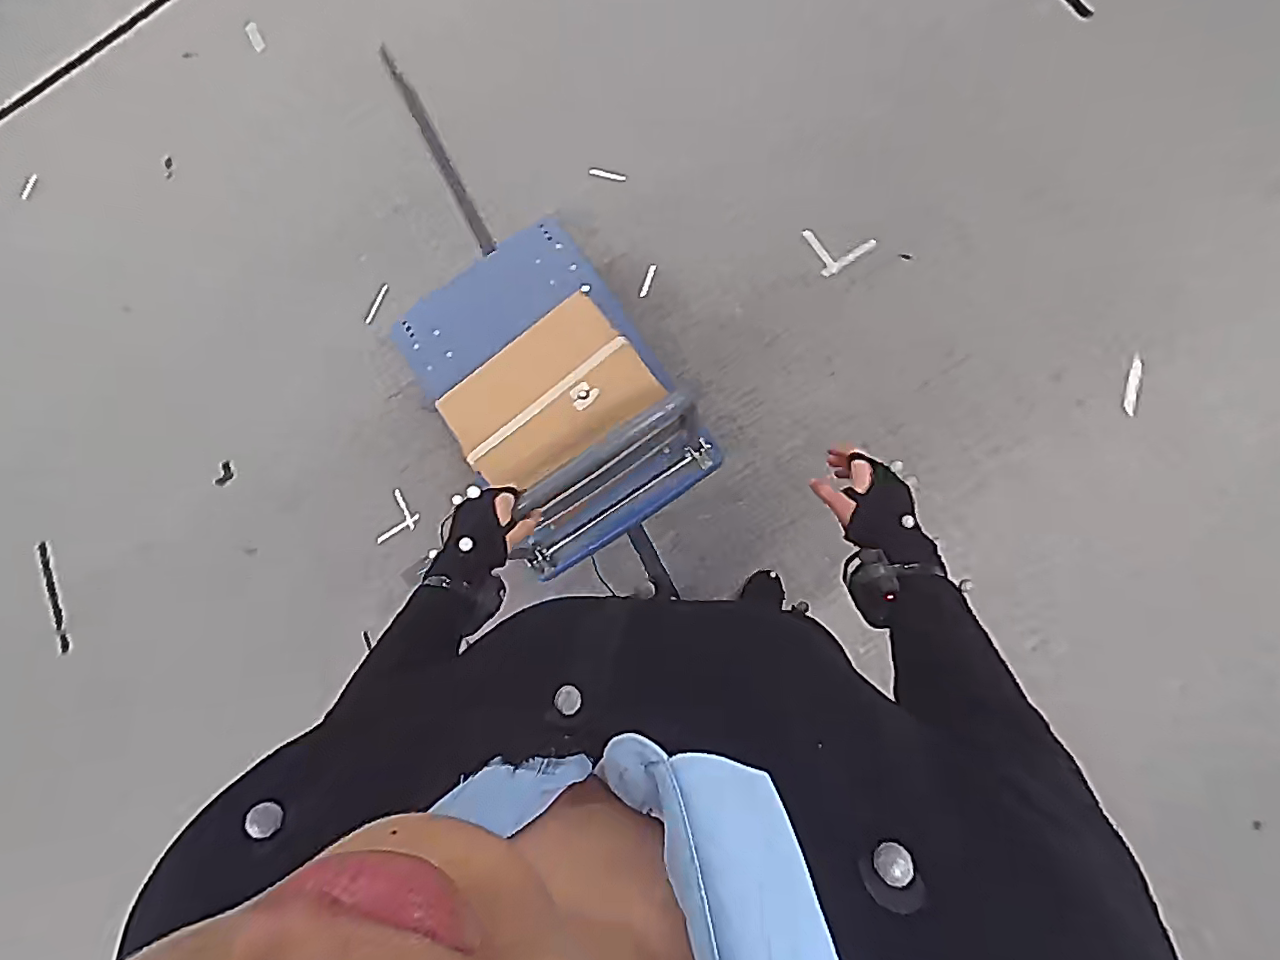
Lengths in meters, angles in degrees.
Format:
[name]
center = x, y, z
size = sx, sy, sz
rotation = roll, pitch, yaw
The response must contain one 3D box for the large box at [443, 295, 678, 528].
[large box]
center = -0.164, -0.135, 1.274
size = 0.408, 0.320, 0.320
rotation = -37, 78, 0
